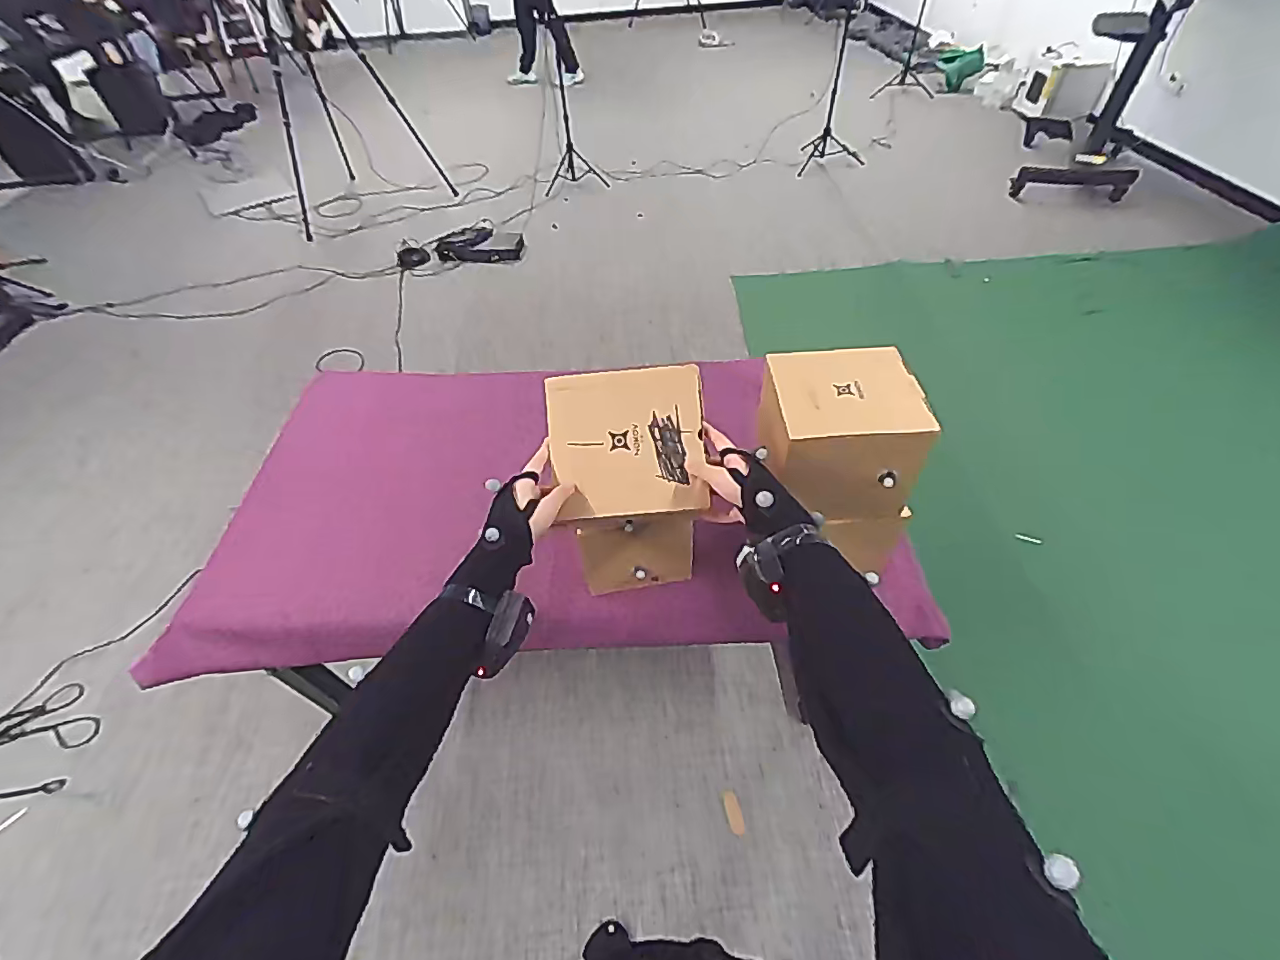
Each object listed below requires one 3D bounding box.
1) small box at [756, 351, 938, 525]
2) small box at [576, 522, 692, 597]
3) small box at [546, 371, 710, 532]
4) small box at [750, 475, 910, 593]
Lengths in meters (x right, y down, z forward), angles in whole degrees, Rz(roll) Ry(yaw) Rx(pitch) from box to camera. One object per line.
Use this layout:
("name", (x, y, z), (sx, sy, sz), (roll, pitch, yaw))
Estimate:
("small box", (0.261, -0.053, 0.732), (0.179, 0.176, 0.168), (-3, 48, 3))
("small box", (-0.015, 0.062, 0.869), (0.168, 0.176, 0.179), (-9, 48, -3))
("small box", (-0.014, -0.026, 0.678), (0.179, 0.176, 0.168), (-5, 81, 1))
("small box", (0.282, 0.059, 0.848), (0.179, 0.176, 0.168), (-7, 48, -1))
